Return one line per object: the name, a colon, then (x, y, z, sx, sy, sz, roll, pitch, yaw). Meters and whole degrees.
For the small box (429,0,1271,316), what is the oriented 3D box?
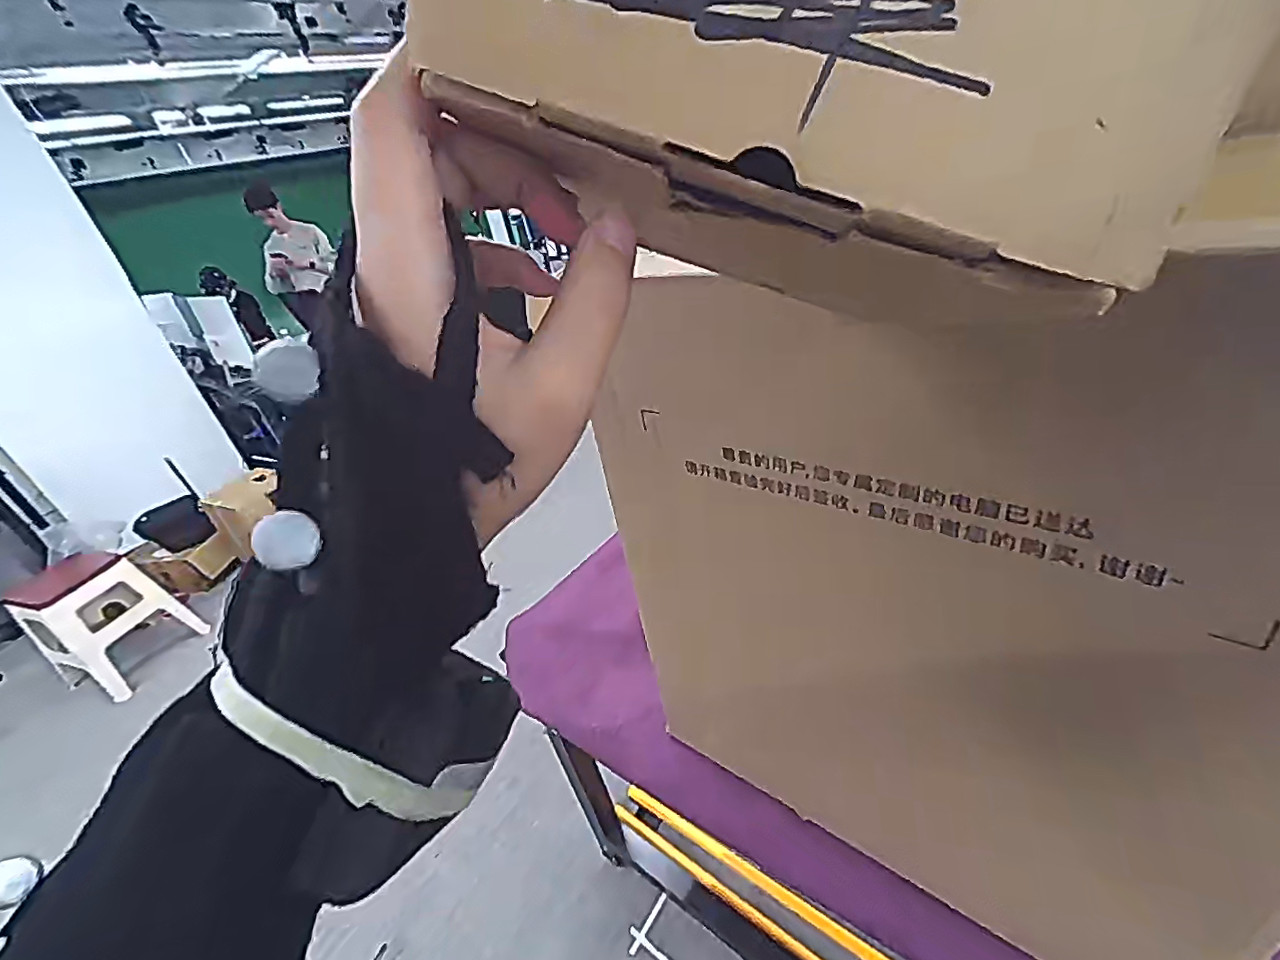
small box: (0.062, -0.163, 0.177, 0.168, 0.179, 0.176, 19, 15, 1)
